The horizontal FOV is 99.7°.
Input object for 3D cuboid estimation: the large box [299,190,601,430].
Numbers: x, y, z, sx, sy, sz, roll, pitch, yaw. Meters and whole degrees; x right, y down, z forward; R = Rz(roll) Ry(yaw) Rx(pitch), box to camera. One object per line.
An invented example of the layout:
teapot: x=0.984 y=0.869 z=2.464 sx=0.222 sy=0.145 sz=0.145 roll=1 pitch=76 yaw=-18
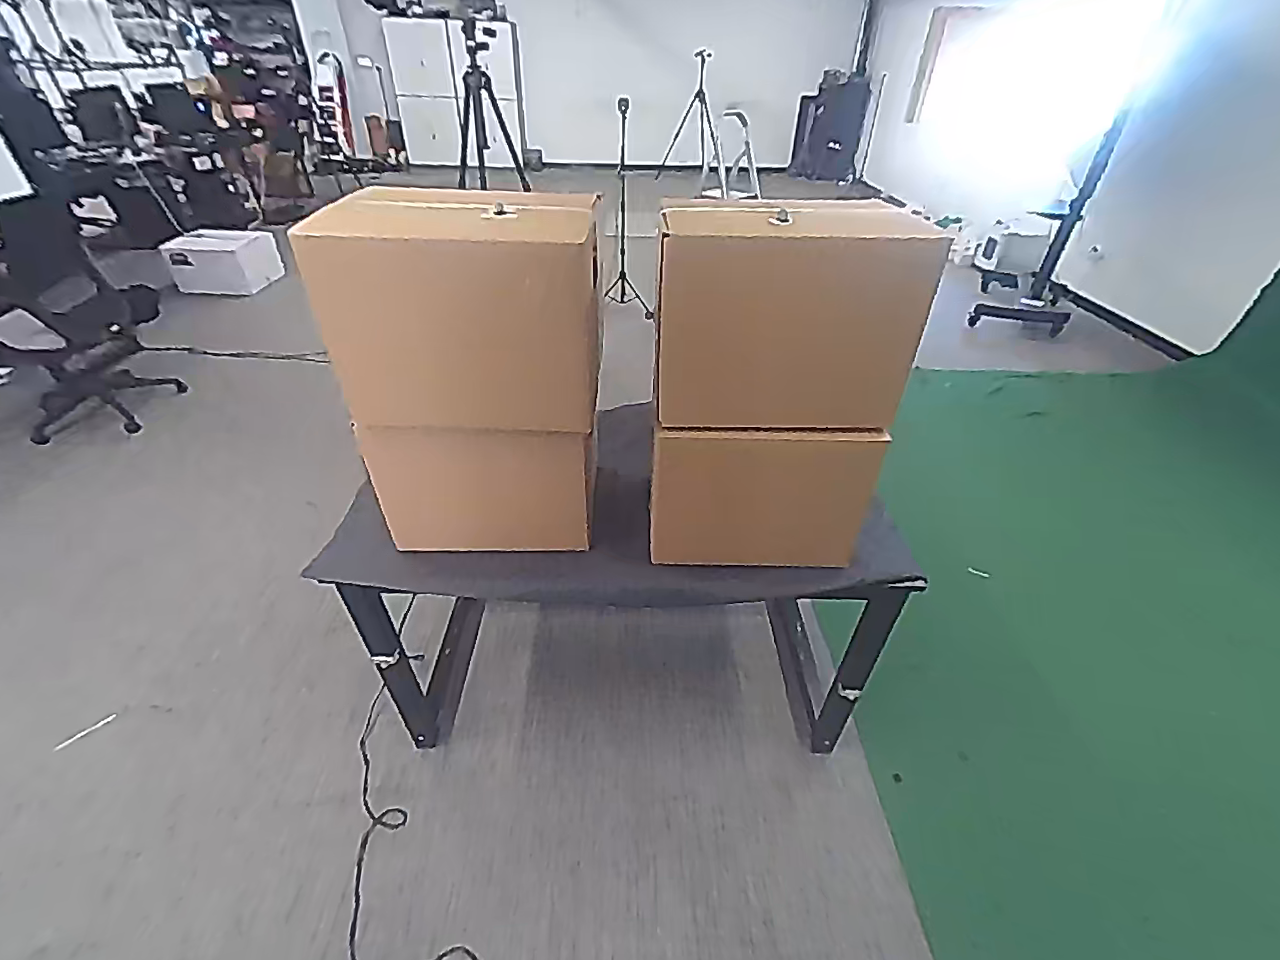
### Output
large box: x=-0.278 y=-0.299 z=0.945 sx=0.408 sy=0.320 sz=0.320 roll=2 pitch=39 yaw=-2
